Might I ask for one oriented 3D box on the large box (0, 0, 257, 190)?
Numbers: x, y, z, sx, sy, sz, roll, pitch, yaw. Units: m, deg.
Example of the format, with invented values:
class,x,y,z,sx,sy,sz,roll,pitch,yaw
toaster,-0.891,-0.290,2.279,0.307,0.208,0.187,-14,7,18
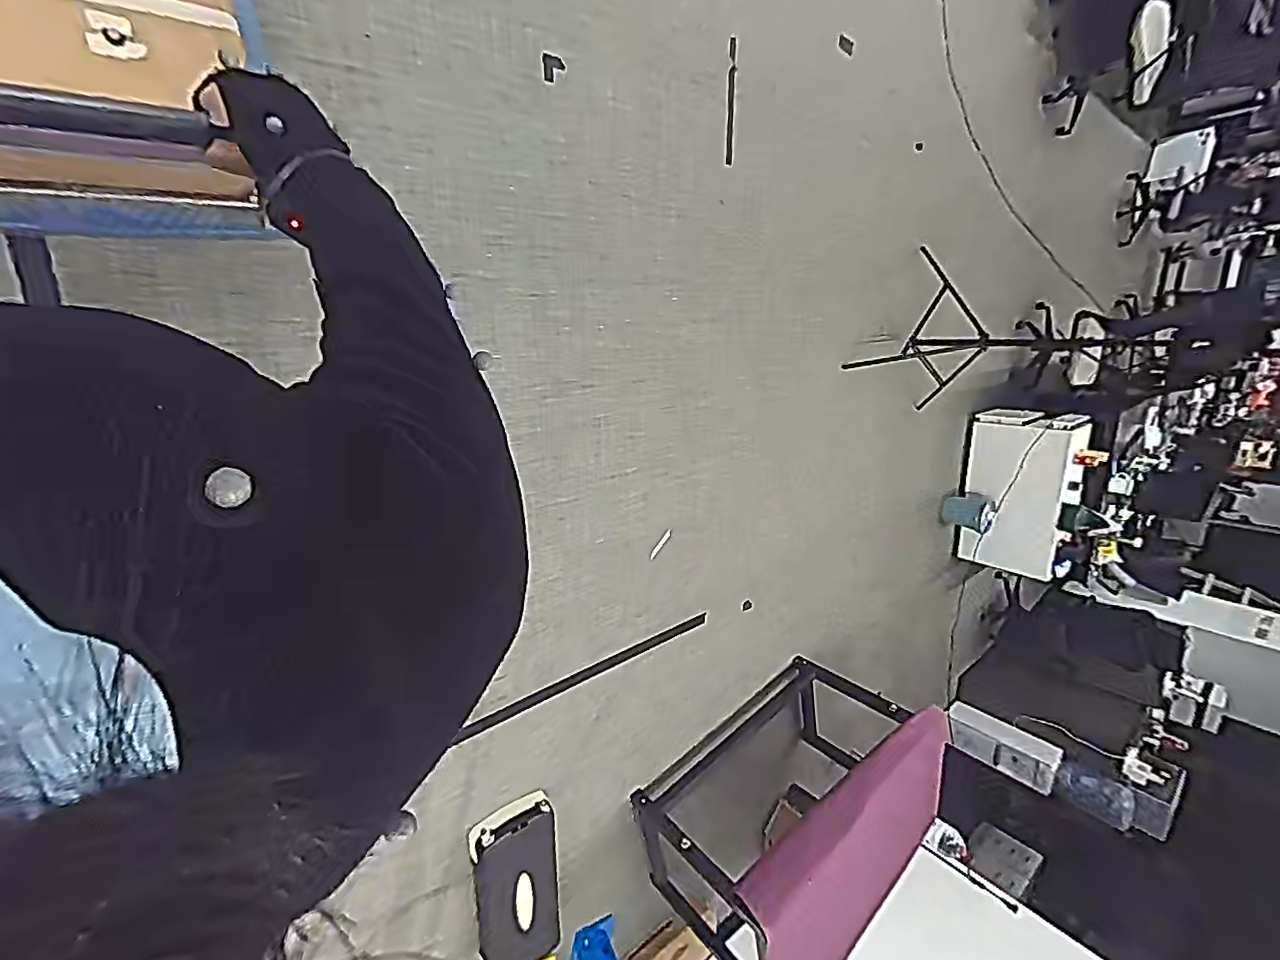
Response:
class,x,y,z,sx,sy,sz,roll,pitch,yaw
large box,-0.830,-0.622,0.759,0.408,0.320,0.320,-17,111,-37
